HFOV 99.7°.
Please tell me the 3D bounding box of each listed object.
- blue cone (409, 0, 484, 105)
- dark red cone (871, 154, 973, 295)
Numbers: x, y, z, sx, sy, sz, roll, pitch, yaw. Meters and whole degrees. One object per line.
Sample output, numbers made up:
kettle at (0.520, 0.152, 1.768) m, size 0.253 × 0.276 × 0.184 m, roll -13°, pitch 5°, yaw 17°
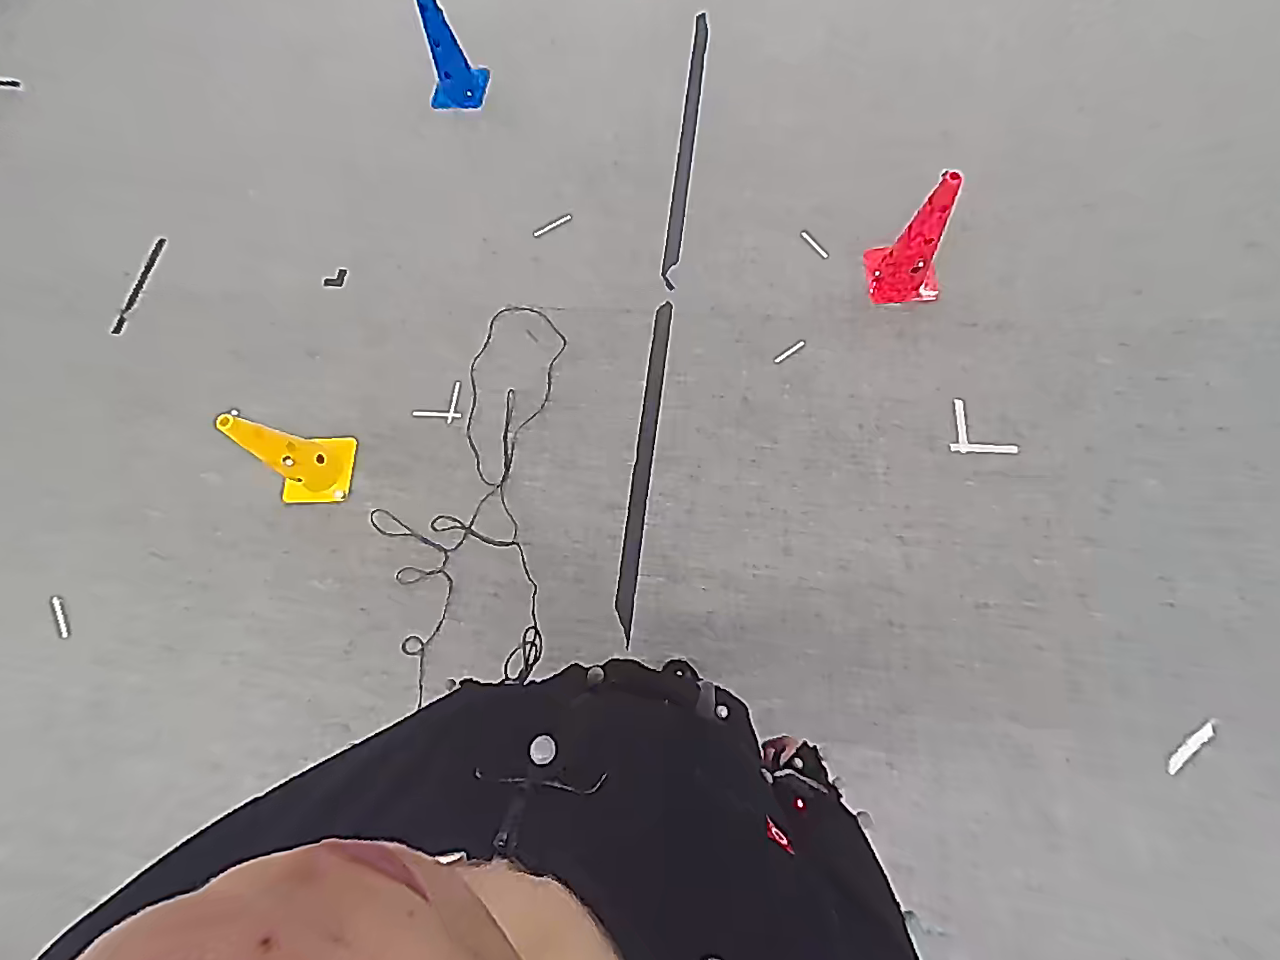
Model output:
blue cone at (-0.704, -1.533, 1.874) m, size 0.192 × 0.380 × 0.193 m, roll 5°, pitch 73°, yaw 8°
dark red cone at (0.774, -0.684, 1.434) m, size 0.201 × 0.394 × 0.202 m, roll -3°, pitch 72°, yaw 6°
